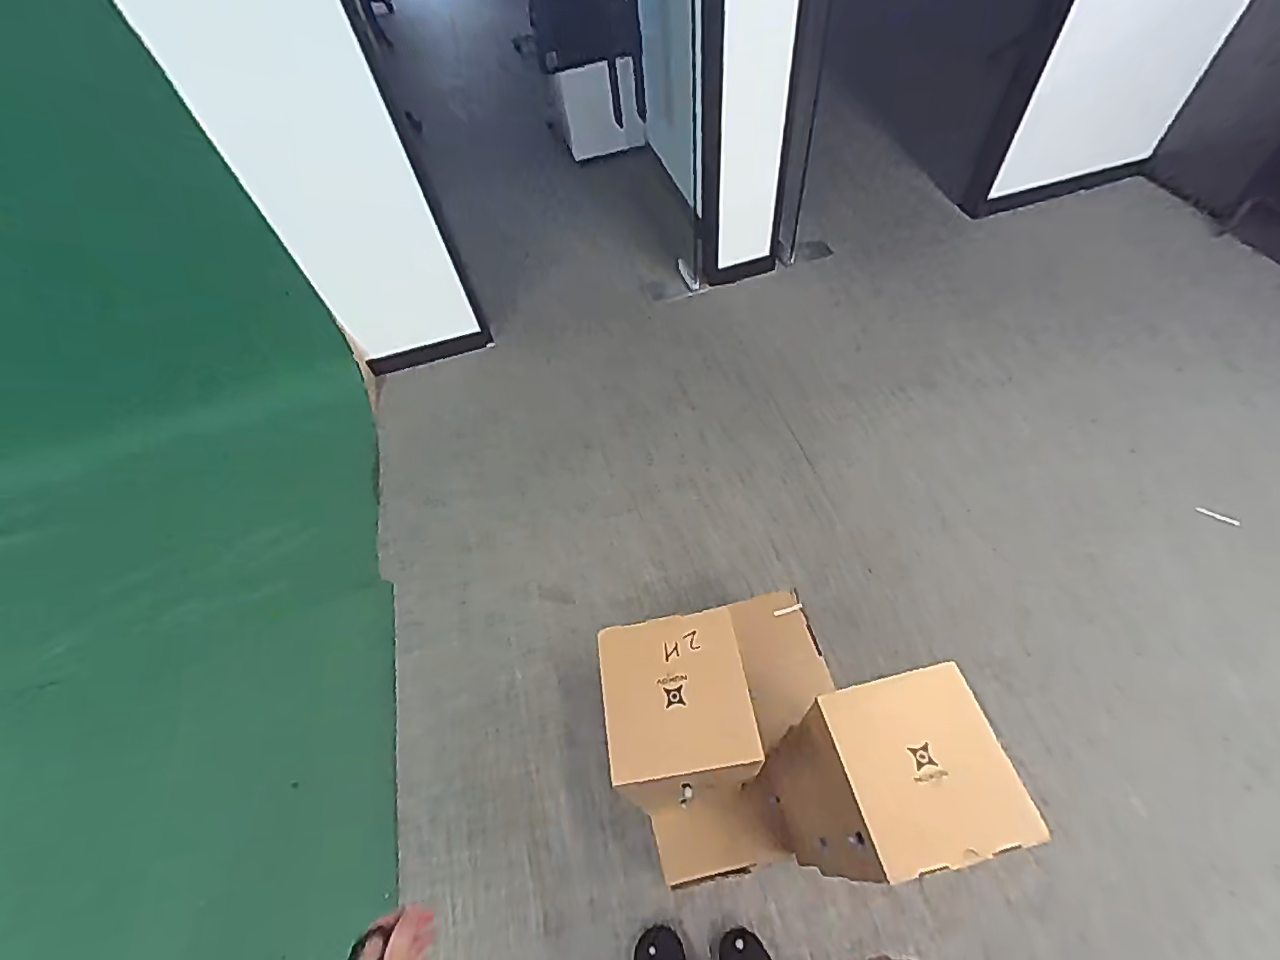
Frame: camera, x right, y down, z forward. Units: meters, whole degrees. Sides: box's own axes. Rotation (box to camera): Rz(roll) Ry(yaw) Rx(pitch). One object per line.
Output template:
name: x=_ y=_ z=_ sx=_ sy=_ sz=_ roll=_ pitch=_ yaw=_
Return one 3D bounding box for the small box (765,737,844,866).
small box: x=0.321 y=0.515 z=0.894 sx=0.179 sy=0.176 sz=0.168 roll=-16 pitch=54 yaw=-4

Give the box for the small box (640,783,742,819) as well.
small box: x=0.072 y=0.472 z=0.953 sx=0.168 sy=0.176 sz=0.179 roll=-14 pitch=53 yaw=-3

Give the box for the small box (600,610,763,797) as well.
small box: x=0.049 y=0.287 z=0.680 sx=0.168 sy=0.176 sz=0.179 roll=-10 pitch=54 yaw=0

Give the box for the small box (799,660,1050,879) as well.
small box: x=0.299 y=0.334 z=0.621 sx=0.168 sy=0.176 sz=0.179 roll=-14 pitch=55 yaw=-4
